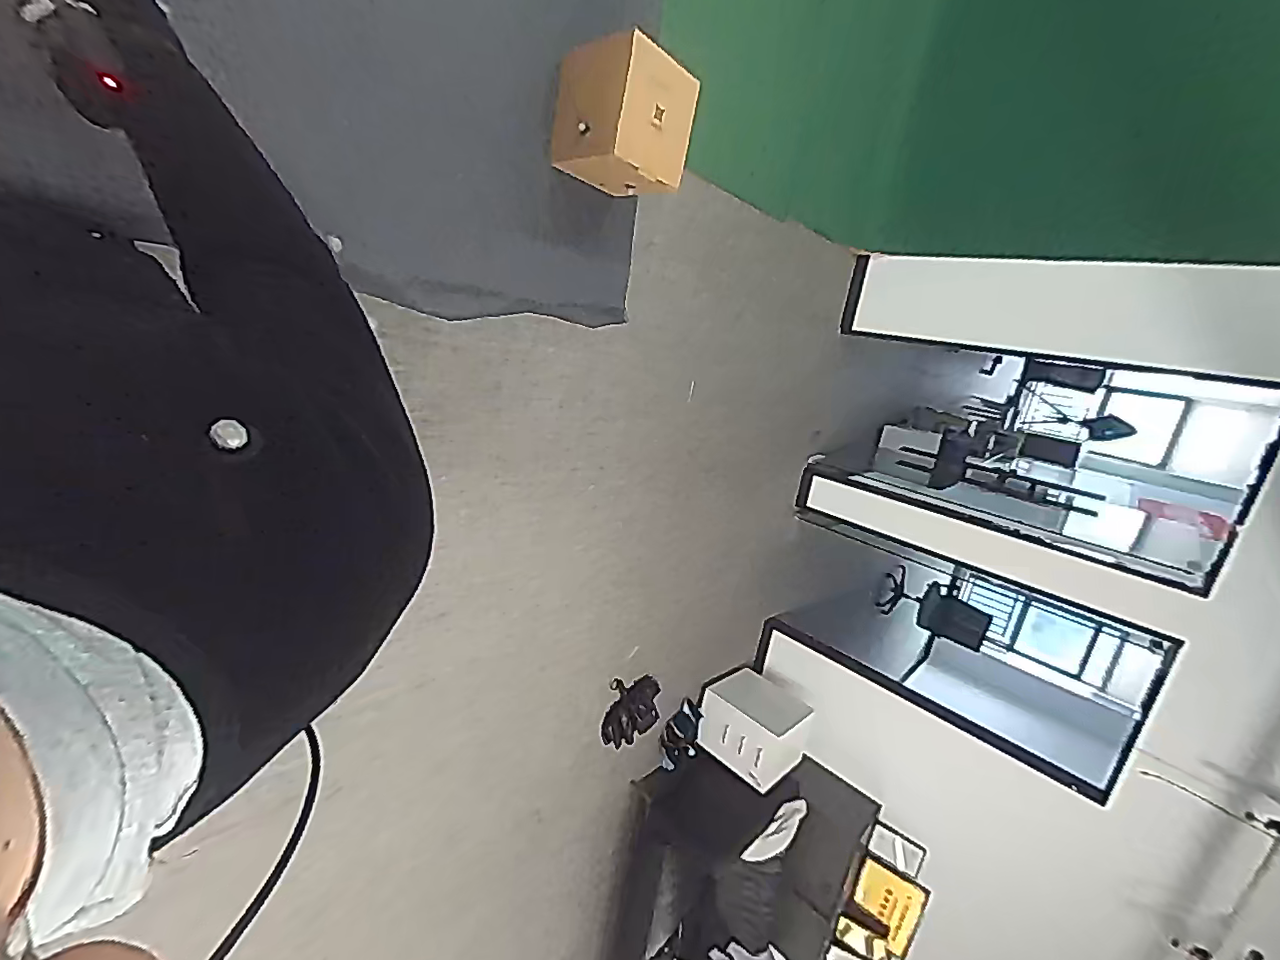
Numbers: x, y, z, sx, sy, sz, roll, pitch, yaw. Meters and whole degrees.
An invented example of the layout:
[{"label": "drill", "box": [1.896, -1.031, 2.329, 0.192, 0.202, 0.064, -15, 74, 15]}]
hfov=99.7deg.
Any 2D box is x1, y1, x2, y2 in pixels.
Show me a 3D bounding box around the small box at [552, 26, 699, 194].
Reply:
[{"label": "small box", "box": [-0.029, -0.603, 0.913, 0.168, 0.176, 0.179, -5, 109, -48]}]
